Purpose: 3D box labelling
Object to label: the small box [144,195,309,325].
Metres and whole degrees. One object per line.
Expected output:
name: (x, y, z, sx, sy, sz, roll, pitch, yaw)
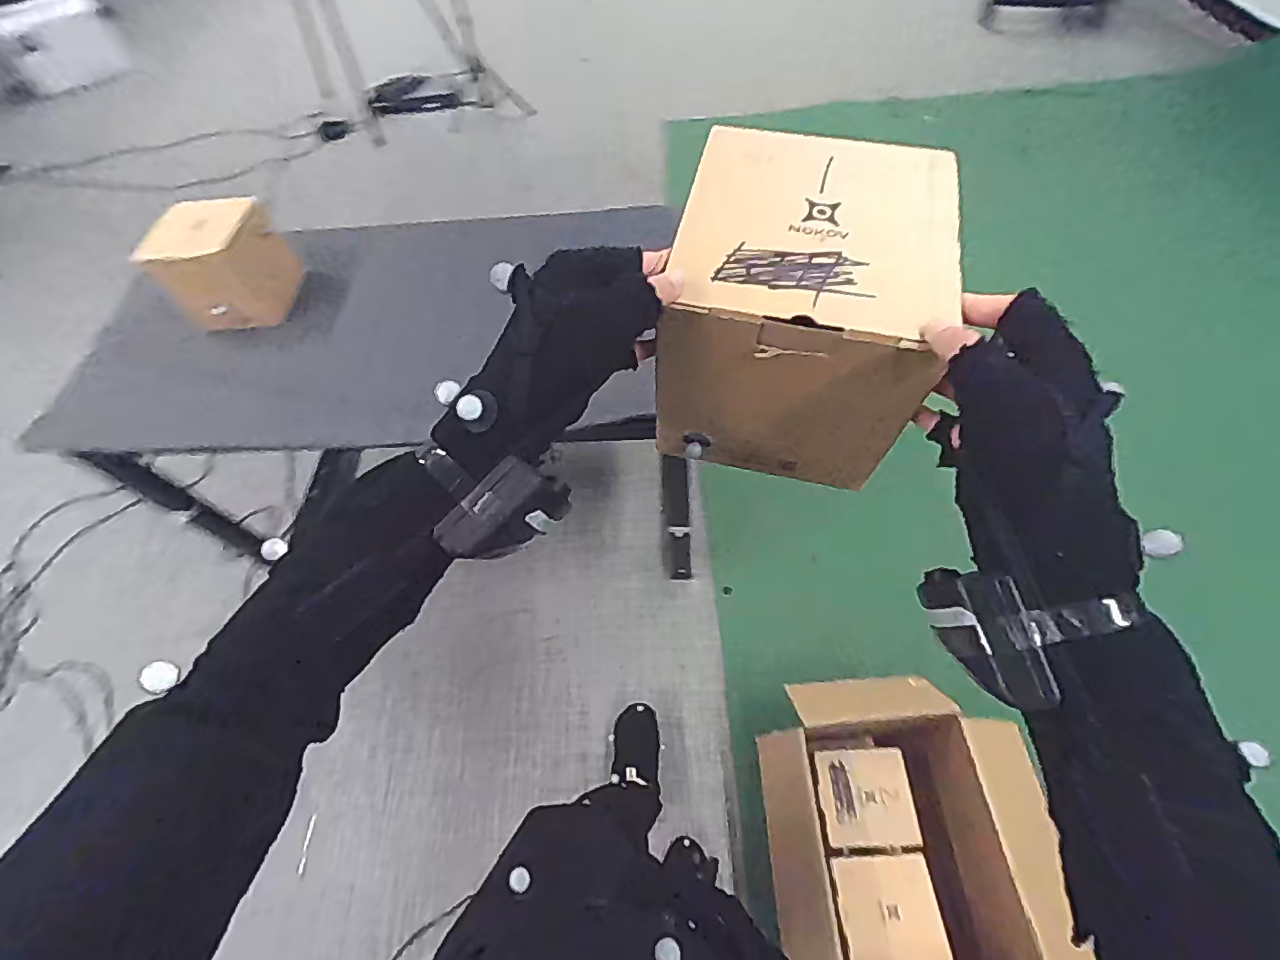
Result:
small box: (-0.795, -0.430, 1.065, 0.168, 0.176, 0.179, -2, 59, 4)
